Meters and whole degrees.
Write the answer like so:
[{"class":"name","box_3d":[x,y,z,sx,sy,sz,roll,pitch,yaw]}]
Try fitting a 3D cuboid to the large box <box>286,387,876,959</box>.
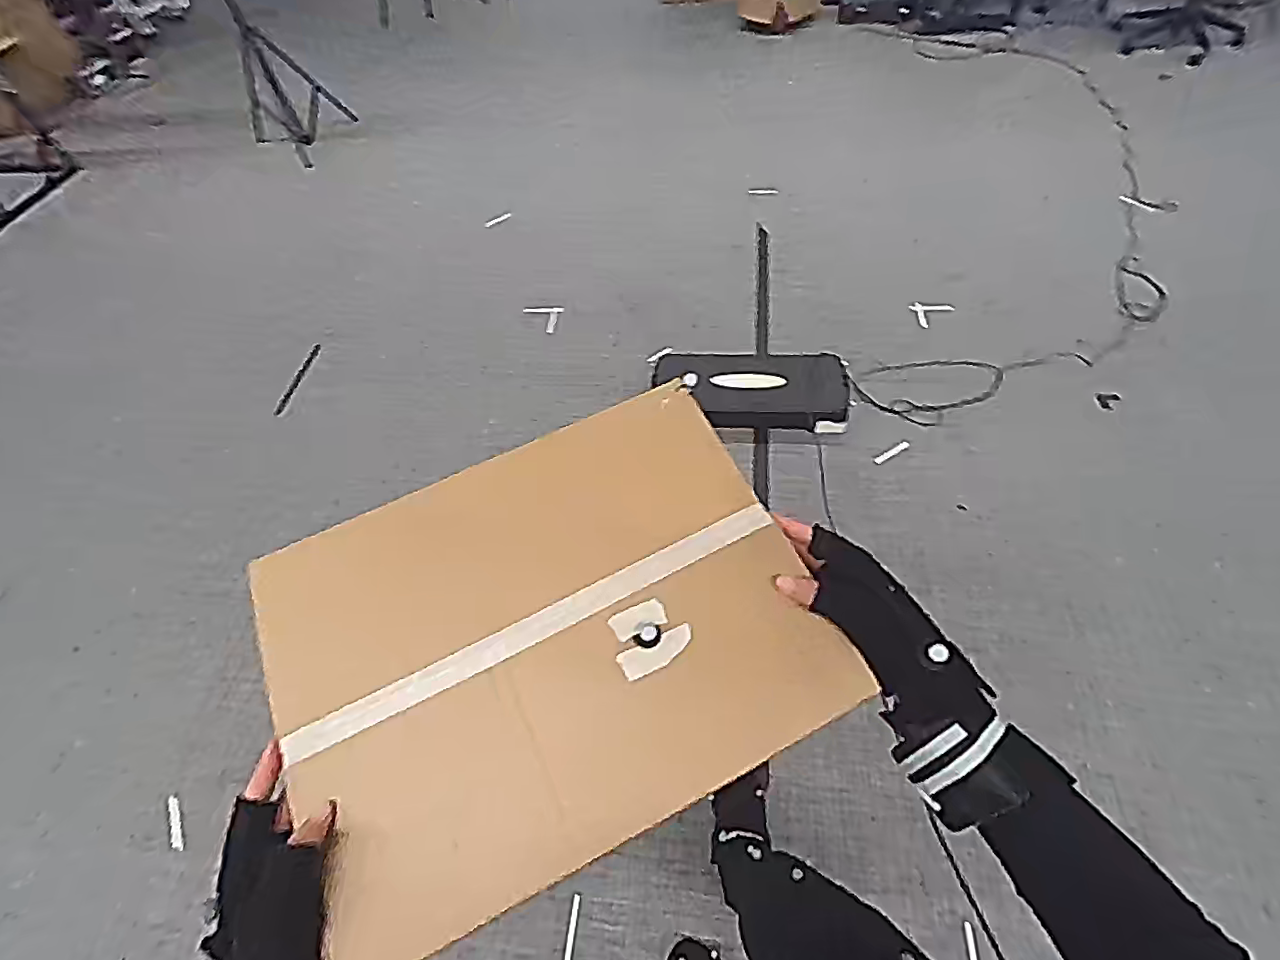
[{"class":"large box","box_3d":[-0.058,0.176,0.567,0.408,0.320,0.320,-24,67,-10]}]
